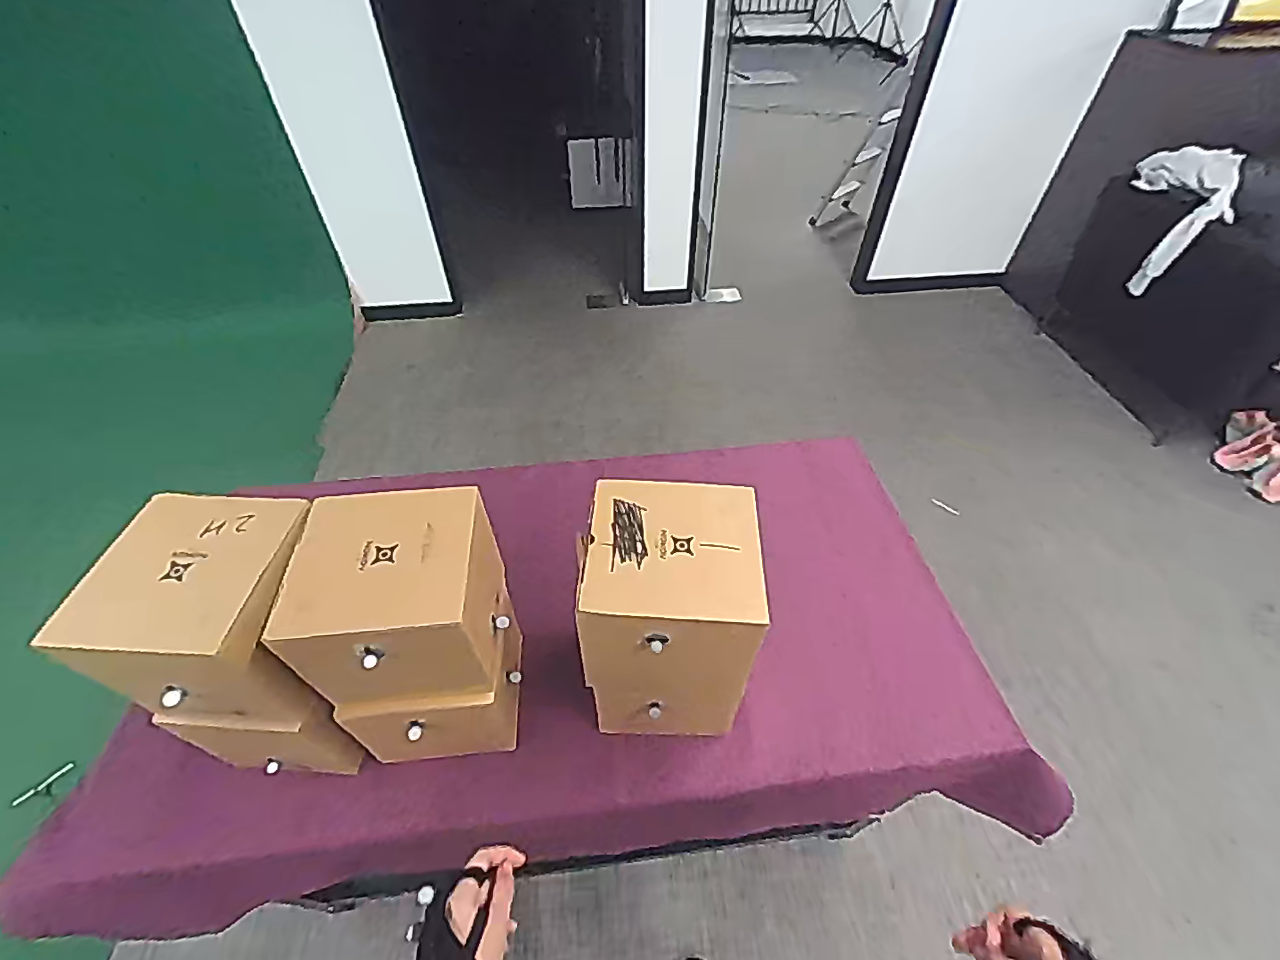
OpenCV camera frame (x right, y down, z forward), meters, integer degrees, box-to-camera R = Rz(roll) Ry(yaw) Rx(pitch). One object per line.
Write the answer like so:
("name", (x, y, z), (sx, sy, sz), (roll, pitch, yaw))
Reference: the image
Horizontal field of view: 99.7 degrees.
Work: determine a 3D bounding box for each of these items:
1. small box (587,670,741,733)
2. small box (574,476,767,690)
("small box", (0.031, 0.222, 0.716), (0.179, 0.176, 0.168), (1, 47, 1))
("small box", (0.031, 0.115, 0.591), (0.179, 0.176, 0.168), (4, 47, 1))
